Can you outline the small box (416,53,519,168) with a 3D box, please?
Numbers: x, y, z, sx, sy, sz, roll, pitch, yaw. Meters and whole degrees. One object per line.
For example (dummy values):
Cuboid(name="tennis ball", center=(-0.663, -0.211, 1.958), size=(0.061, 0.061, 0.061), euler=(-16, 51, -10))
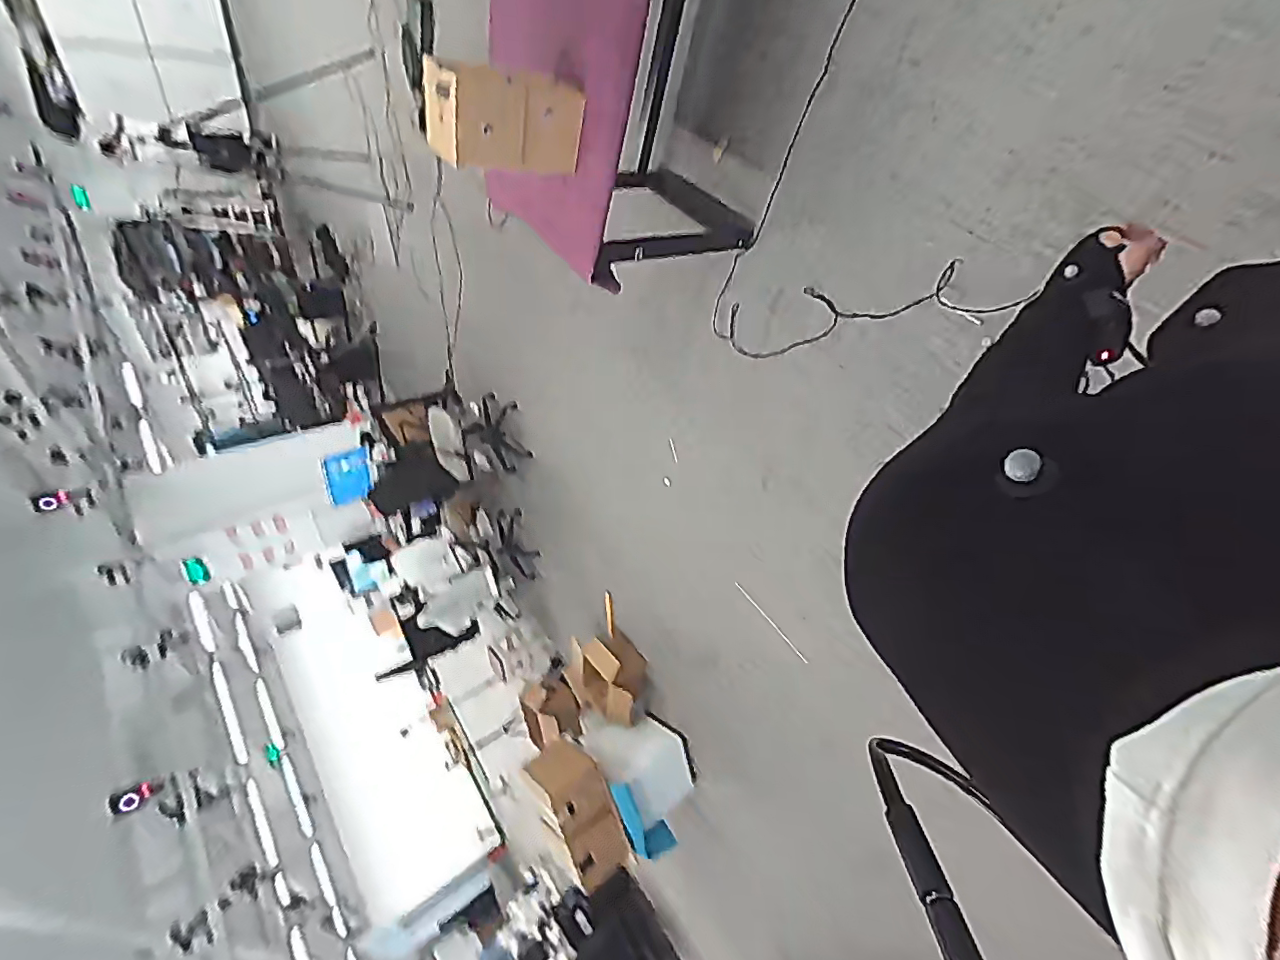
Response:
Cuboid(name="small box", center=(-0.391, -0.835, 1.233), size=(0.168, 0.176, 0.179), euler=(46, 140, 28))
